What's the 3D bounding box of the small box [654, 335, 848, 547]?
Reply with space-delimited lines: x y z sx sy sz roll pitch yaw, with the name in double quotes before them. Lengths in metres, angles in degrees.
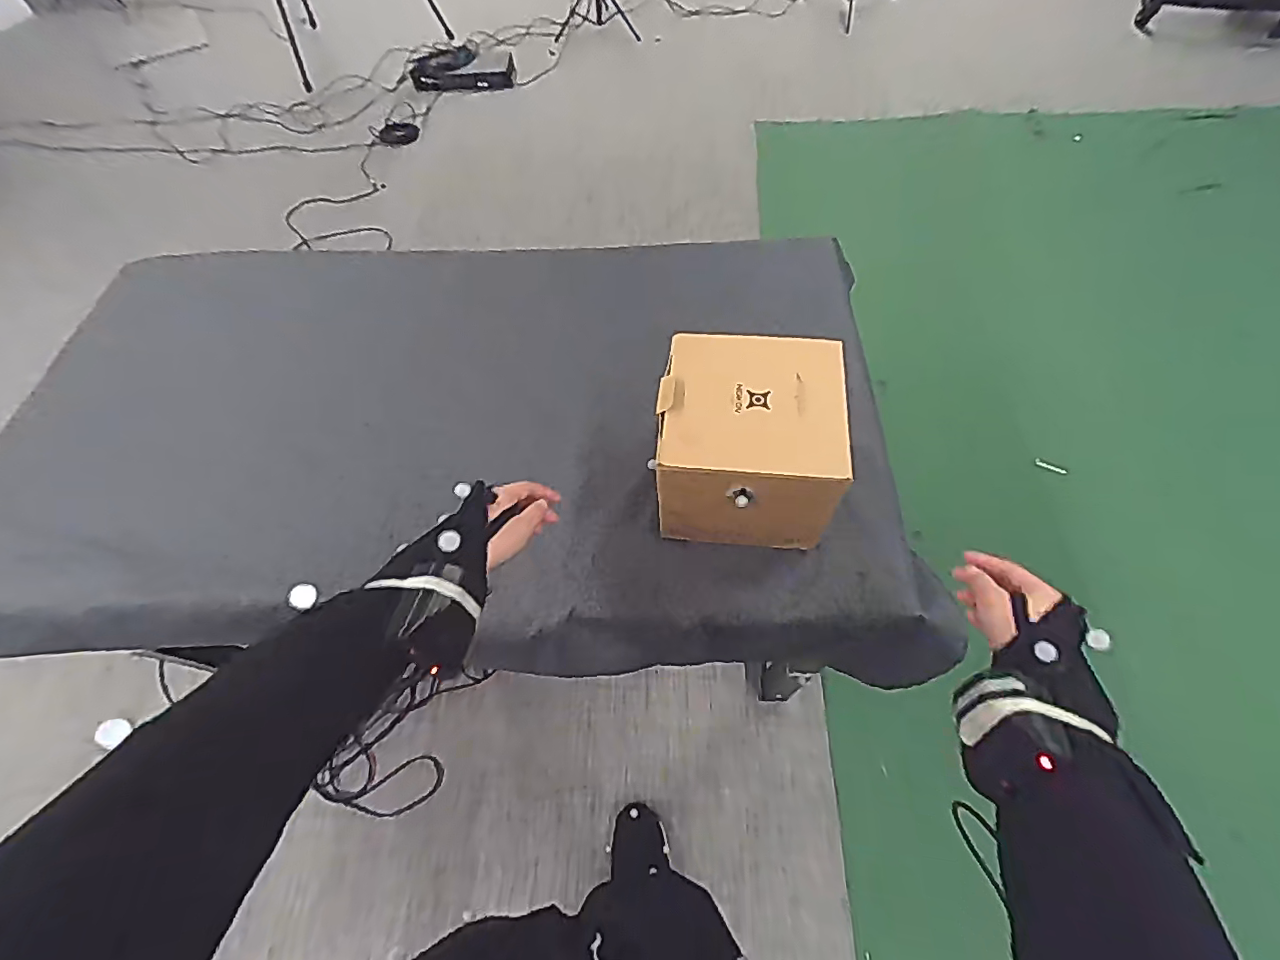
"small box" 0.113 -0.036 0.592 0.179 0.176 0.168 5 61 6
